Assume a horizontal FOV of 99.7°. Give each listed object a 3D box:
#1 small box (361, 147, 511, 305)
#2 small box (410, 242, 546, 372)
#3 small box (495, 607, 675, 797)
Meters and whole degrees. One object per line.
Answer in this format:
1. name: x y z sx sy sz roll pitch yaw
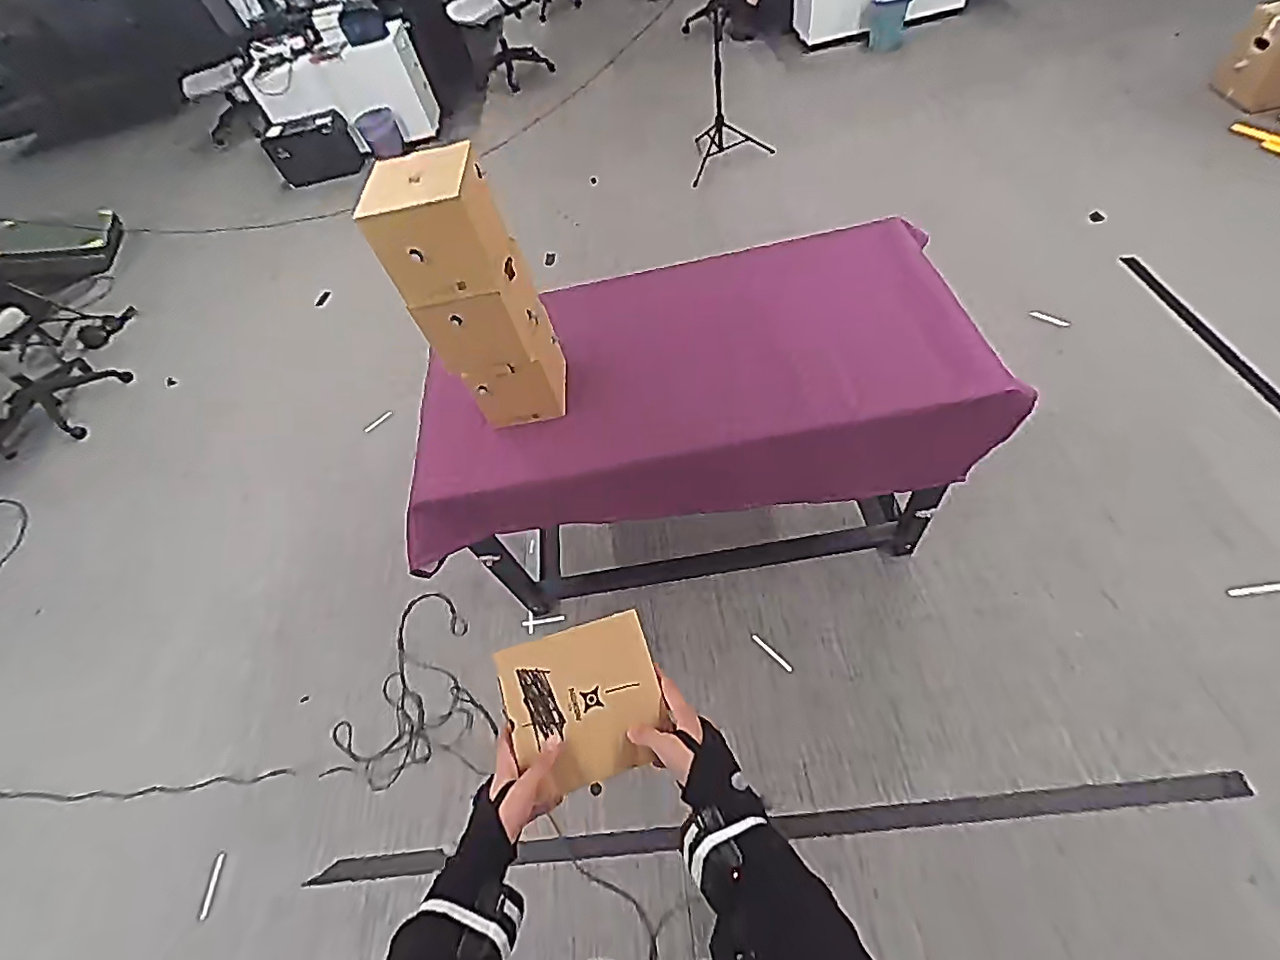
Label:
1. small box: -0.323 -0.411 0.897 0.168 0.176 0.179 -9 54 5
2. small box: -0.297 -0.323 1.031 0.179 0.176 0.168 -3 56 9
3. small box: -0.069 0.280 0.684 0.179 0.176 0.168 -14 66 -11
